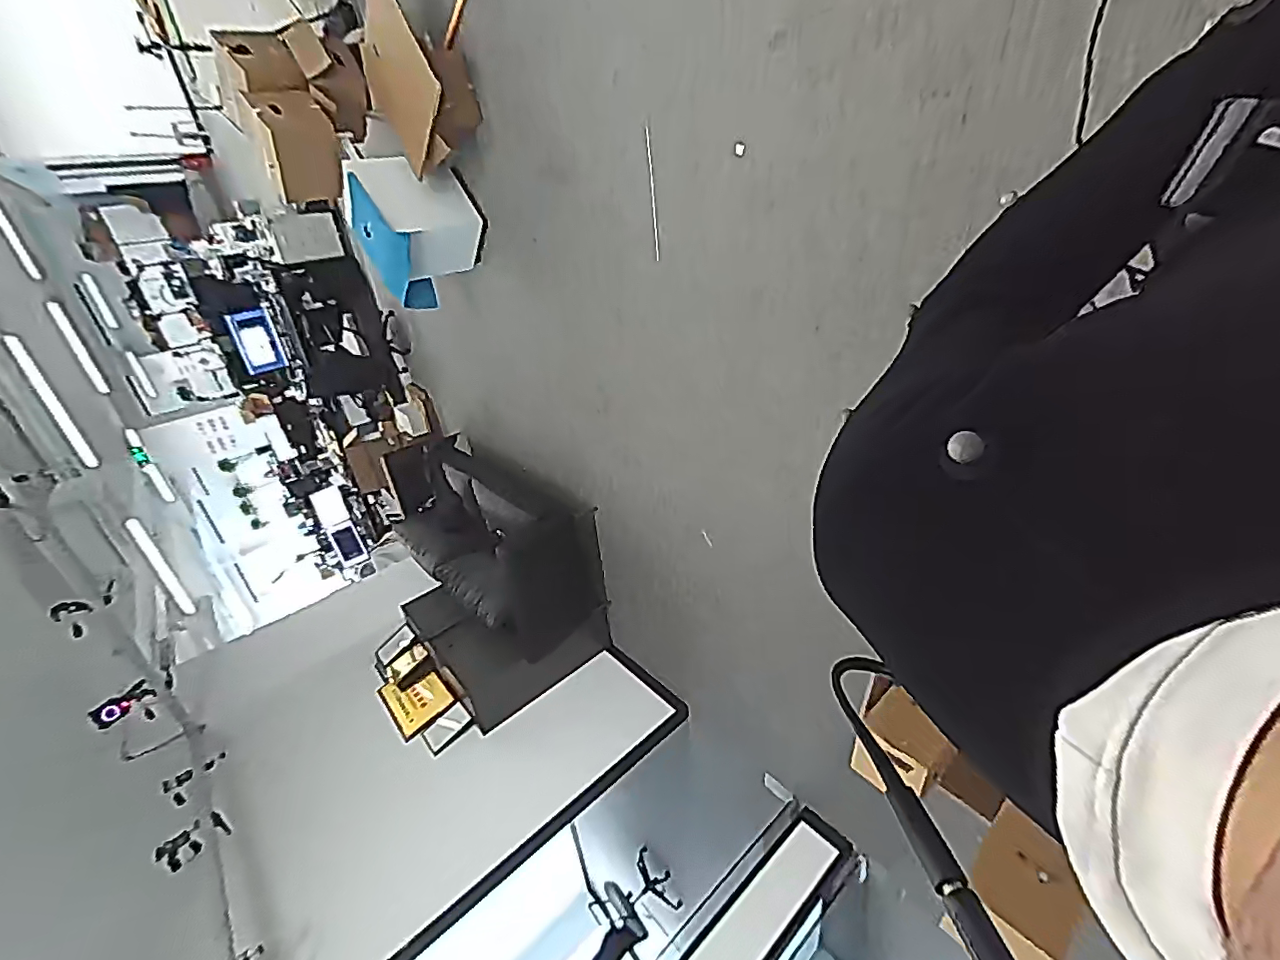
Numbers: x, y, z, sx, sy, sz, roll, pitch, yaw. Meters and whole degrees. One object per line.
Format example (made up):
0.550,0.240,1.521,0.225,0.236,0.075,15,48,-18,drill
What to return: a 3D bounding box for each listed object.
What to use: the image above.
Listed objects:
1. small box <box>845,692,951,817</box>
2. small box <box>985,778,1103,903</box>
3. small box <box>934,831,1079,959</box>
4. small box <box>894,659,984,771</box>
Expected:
0.631,0.661,1.321,0.168,0.176,0.179,28,132,43,small box
0.825,0.777,1.130,0.168,0.176,0.179,27,132,41,small box
0.702,0.835,1.040,0.168,0.176,0.179,28,132,41,small box
0.760,0.610,1.409,0.168,0.176,0.179,33,134,39,small box
